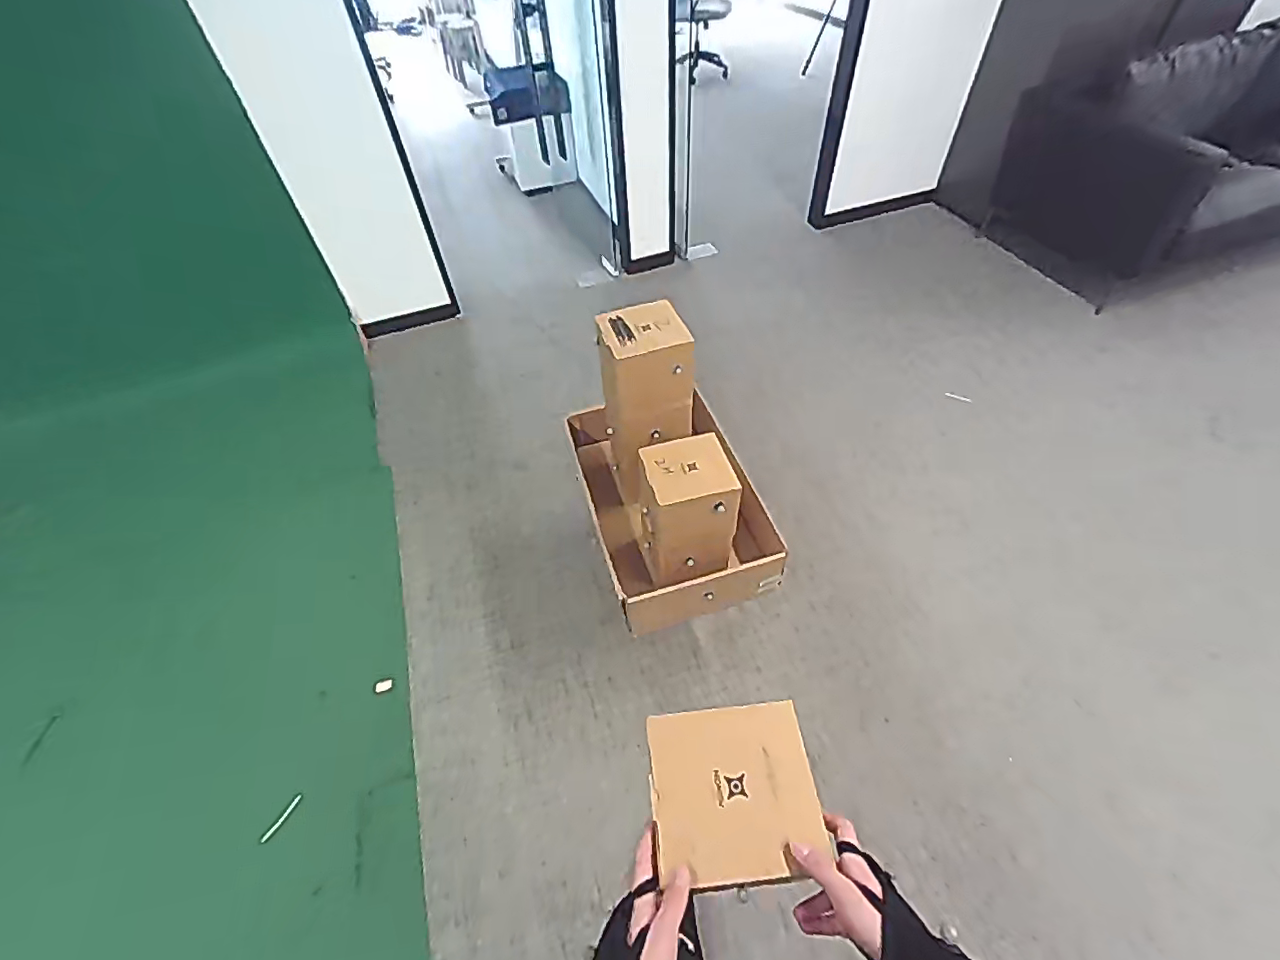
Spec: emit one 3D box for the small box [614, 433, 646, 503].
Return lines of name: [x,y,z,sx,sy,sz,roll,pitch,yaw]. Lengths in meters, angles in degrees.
small box: [0.032,-0.064,1.465,0.179,0.176,0.168,-15,52,-9]

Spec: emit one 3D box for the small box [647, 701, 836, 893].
small box: [0.106,0.376,0.637,0.179,0.176,0.168,-6,52,0]

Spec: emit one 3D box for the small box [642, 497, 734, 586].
small box: [0.113,0.133,1.297,0.179,0.176,0.168,-14,51,-7]

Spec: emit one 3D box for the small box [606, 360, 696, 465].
small box: [0.025,-0.163,1.335,0.179,0.176,0.168,-17,52,-9]

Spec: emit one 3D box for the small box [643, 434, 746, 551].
small box: [0.111,0.030,1.167,0.179,0.176,0.168,-13,50,-7]
